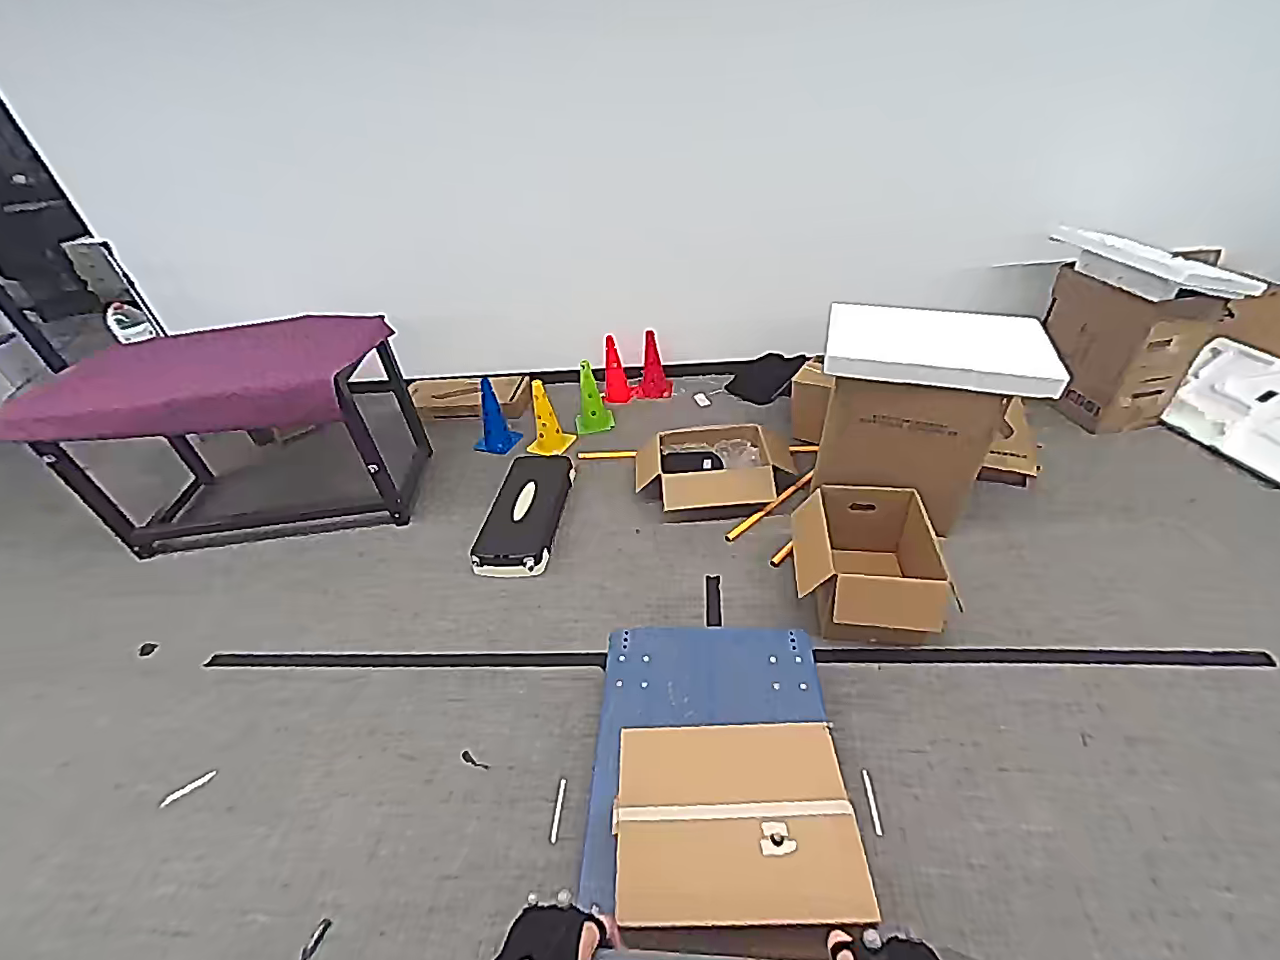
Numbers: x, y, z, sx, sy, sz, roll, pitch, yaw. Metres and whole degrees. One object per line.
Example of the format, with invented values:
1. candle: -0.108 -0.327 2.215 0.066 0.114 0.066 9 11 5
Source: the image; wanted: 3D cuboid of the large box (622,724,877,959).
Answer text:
1. large box: 0.175 0.703 1.038 0.408 0.320 0.320 -3 38 2
